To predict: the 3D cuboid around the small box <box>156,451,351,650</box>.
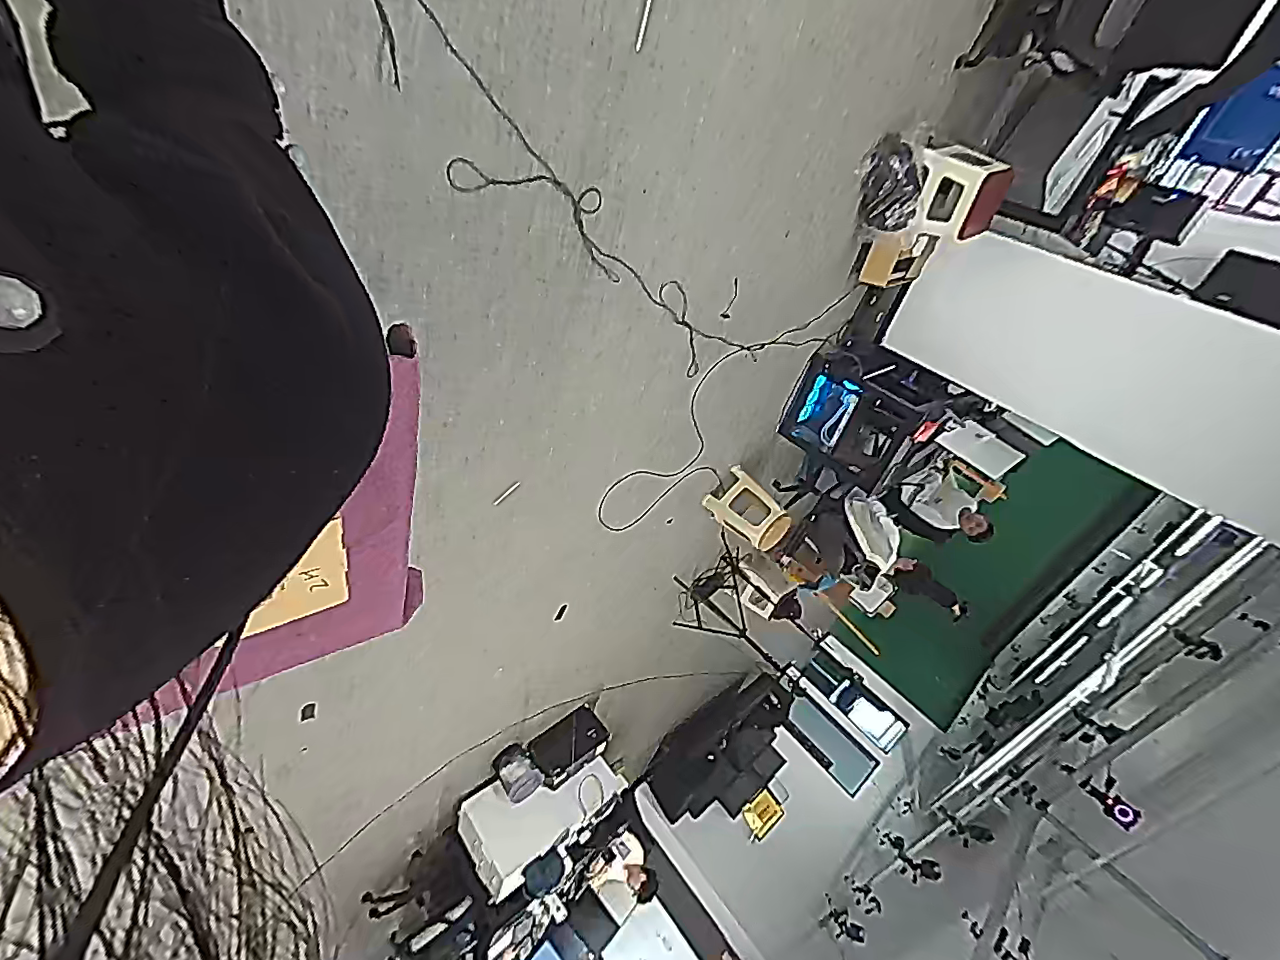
[{"bbox_3d":[-0.510,0.083,0.720,0.179,0.176,0.168,-18,139,-40],"label":"small box"}]
